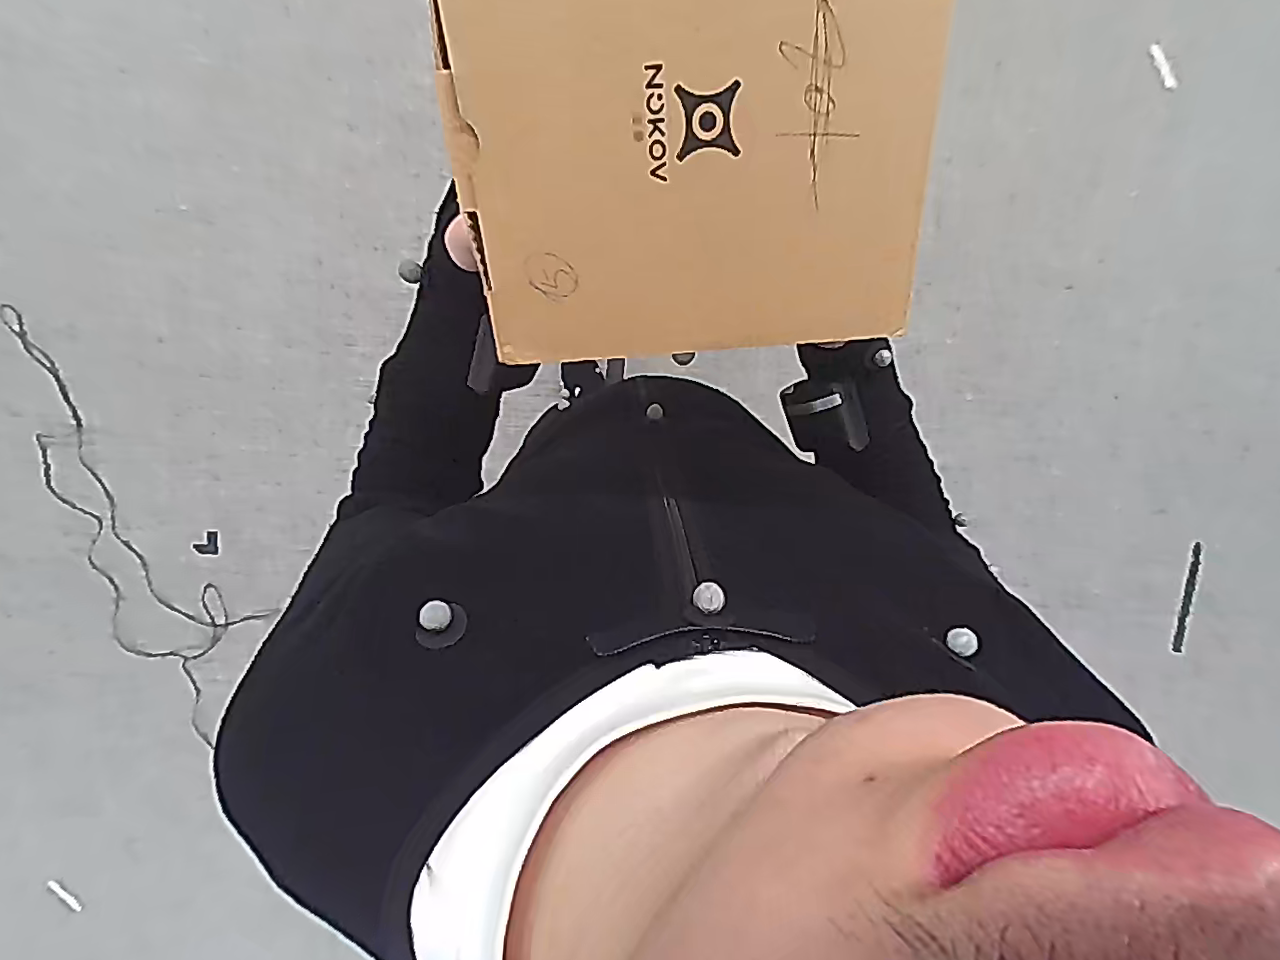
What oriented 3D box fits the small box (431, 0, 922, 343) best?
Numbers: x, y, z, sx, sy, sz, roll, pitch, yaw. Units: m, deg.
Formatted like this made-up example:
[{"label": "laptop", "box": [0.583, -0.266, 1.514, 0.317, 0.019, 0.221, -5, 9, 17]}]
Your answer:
[{"label": "small box", "box": [0.014, -0.174, 0.277, 0.179, 0.176, 0.168, -5, 117, 0]}]
